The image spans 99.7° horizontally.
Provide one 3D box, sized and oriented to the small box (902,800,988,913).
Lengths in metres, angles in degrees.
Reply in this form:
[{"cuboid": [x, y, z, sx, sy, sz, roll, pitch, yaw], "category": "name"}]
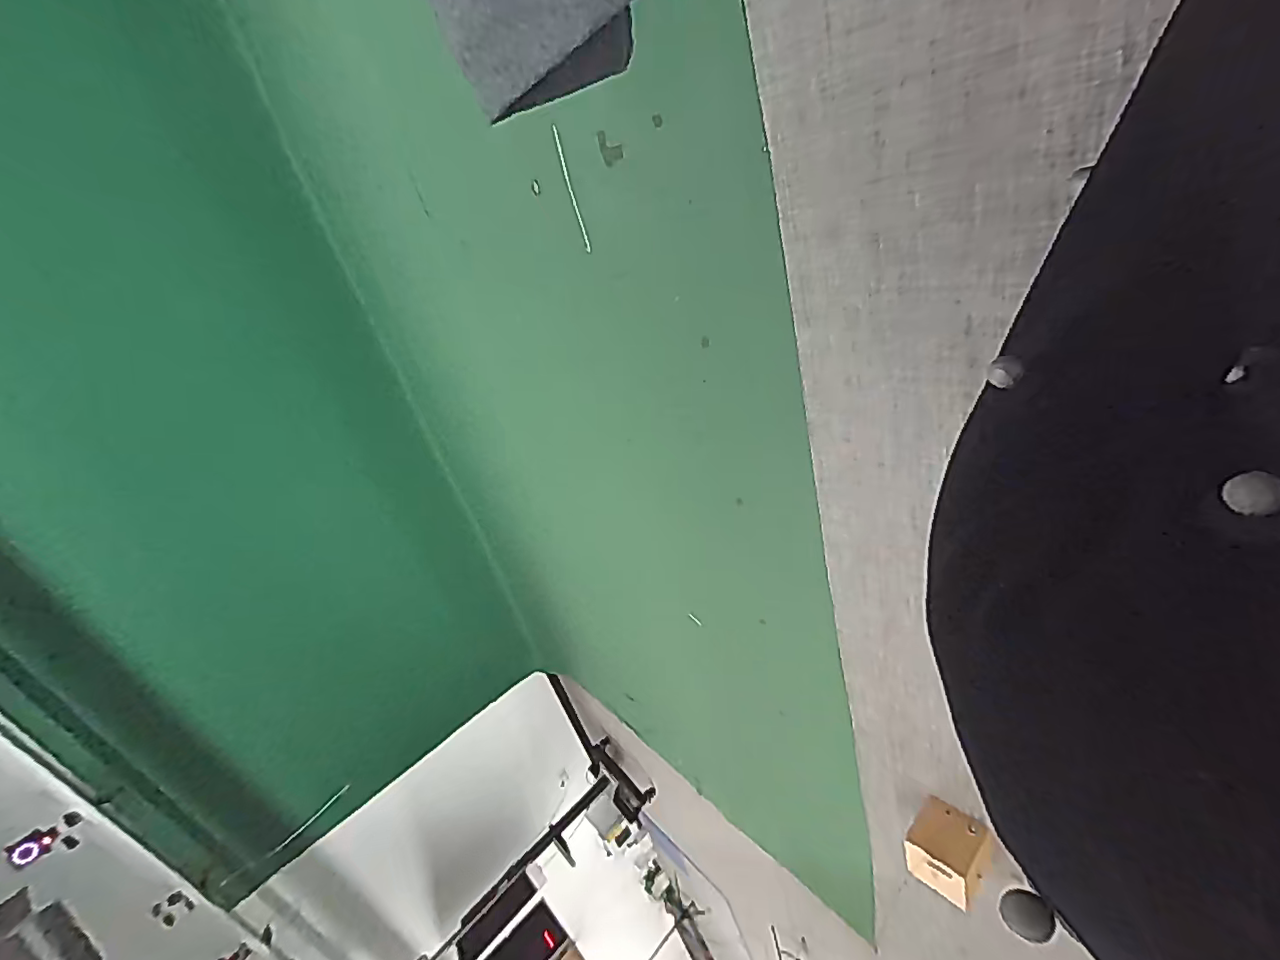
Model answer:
[{"cuboid": [0.886, 1.080, 1.567, 0.168, 0.176, 0.179, 16, 132, 50], "category": "small box"}]
